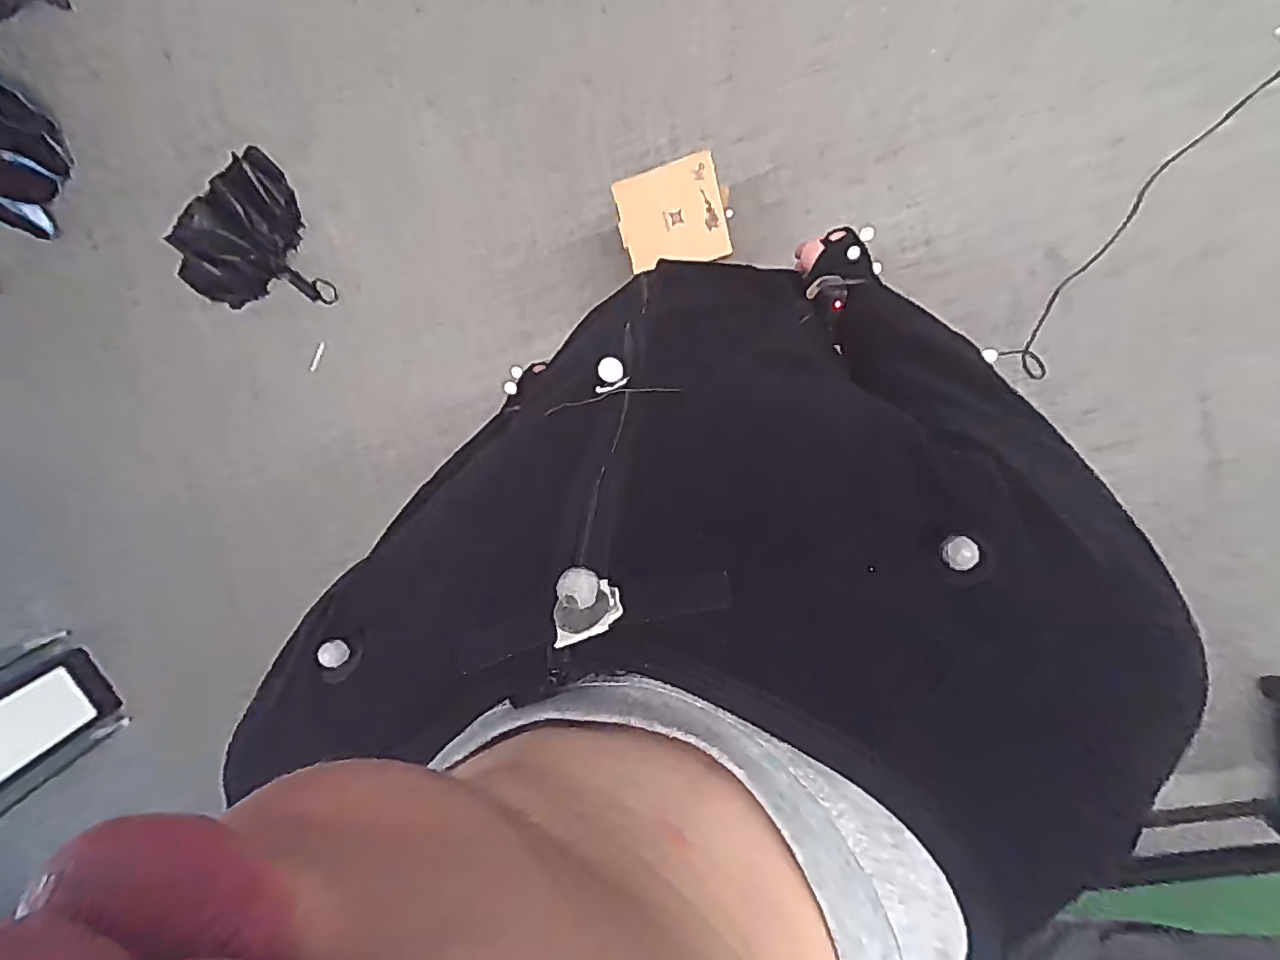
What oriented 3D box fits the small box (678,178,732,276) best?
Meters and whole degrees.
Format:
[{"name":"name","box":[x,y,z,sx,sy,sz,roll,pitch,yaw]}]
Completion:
[{"name":"small box","box":[0.089,-0.538,1.137,0.168,0.176,0.179,14,113,4]}]

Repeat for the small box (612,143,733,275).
[{"name":"small box","box":[0.067,-0.480,0.986,0.179,0.176,0.168,-12,108,14]}]
